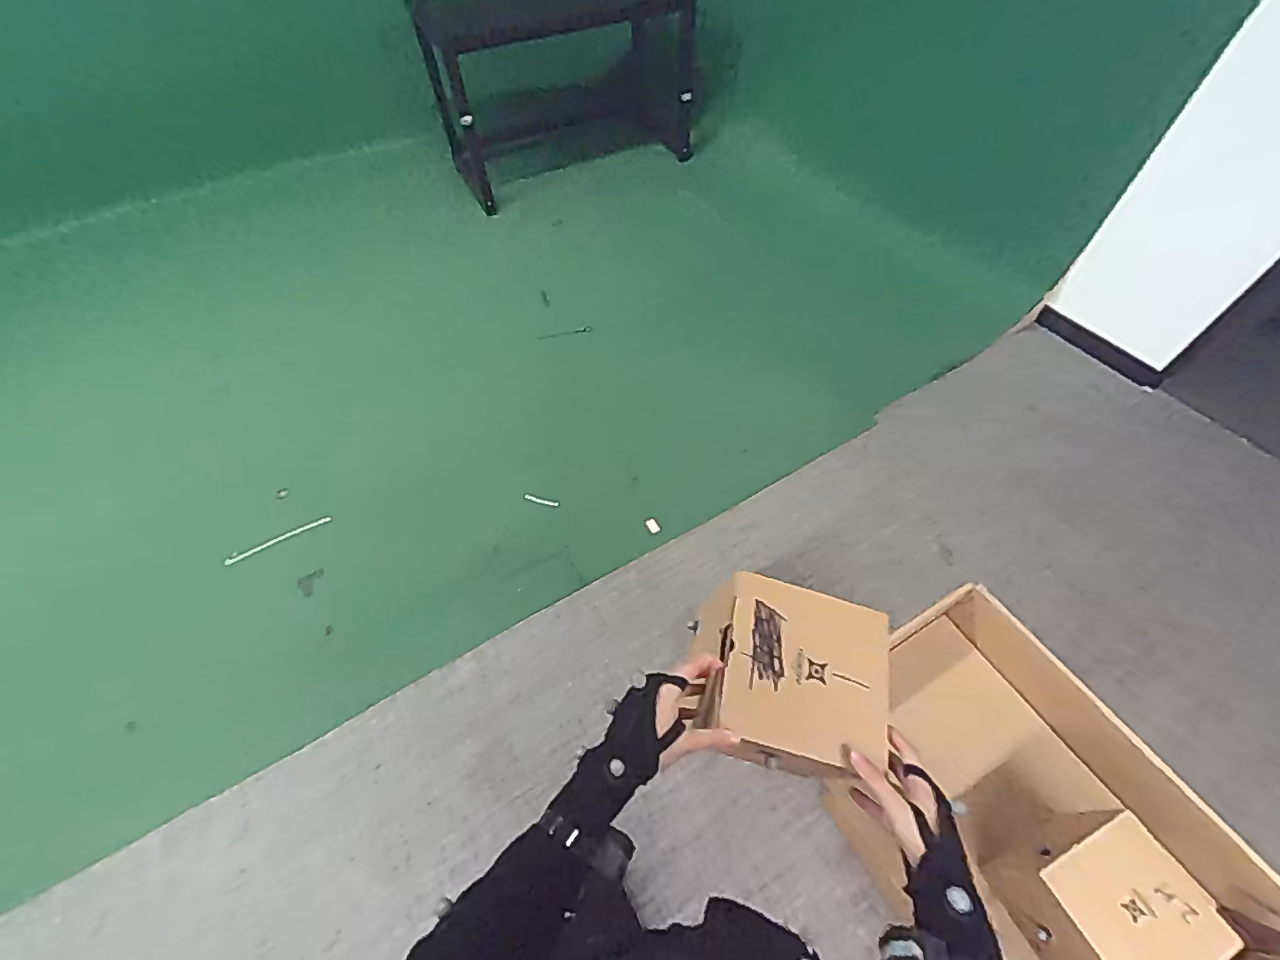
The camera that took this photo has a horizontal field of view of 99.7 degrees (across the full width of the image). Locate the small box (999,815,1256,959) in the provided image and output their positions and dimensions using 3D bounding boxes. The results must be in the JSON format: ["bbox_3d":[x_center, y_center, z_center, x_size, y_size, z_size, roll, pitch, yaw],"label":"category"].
[{"bbox_3d":[0.641,0.595,0.745,0.179,0.176,0.168,-22,57,-13],"label":"small box"}]

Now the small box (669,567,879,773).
[{"bbox_3d":[0.142,0.222,0.610,0.179,0.176,0.168,17,59,-4],"label":"small box"}]
